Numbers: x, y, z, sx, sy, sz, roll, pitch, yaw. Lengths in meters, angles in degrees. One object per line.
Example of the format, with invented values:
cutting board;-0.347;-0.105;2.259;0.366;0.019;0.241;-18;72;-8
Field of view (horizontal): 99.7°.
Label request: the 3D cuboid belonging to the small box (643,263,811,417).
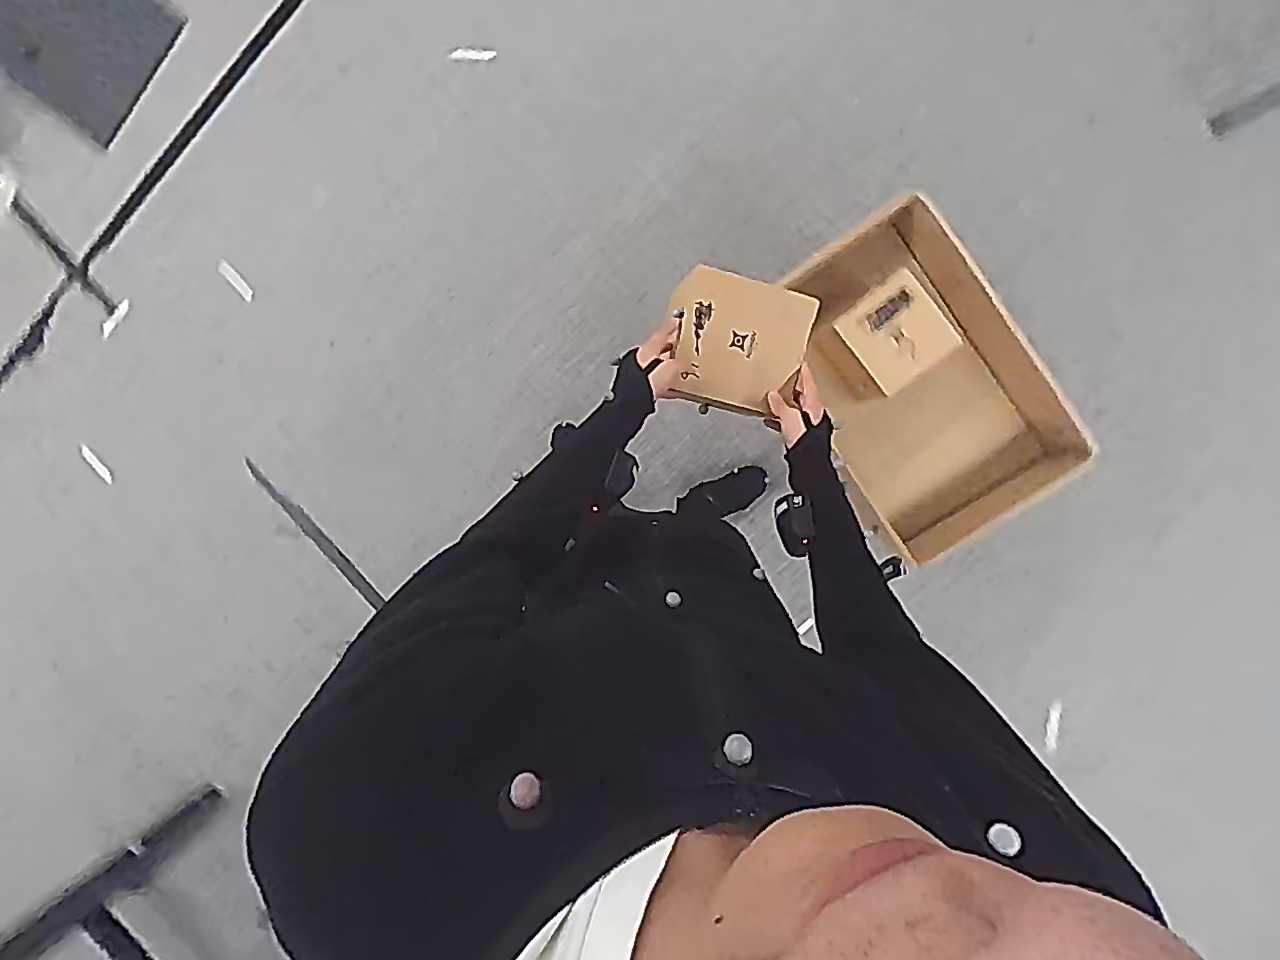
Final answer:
small box;0.116;-0.195;0.792;0.179;0.176;0.168;13;96;-9
